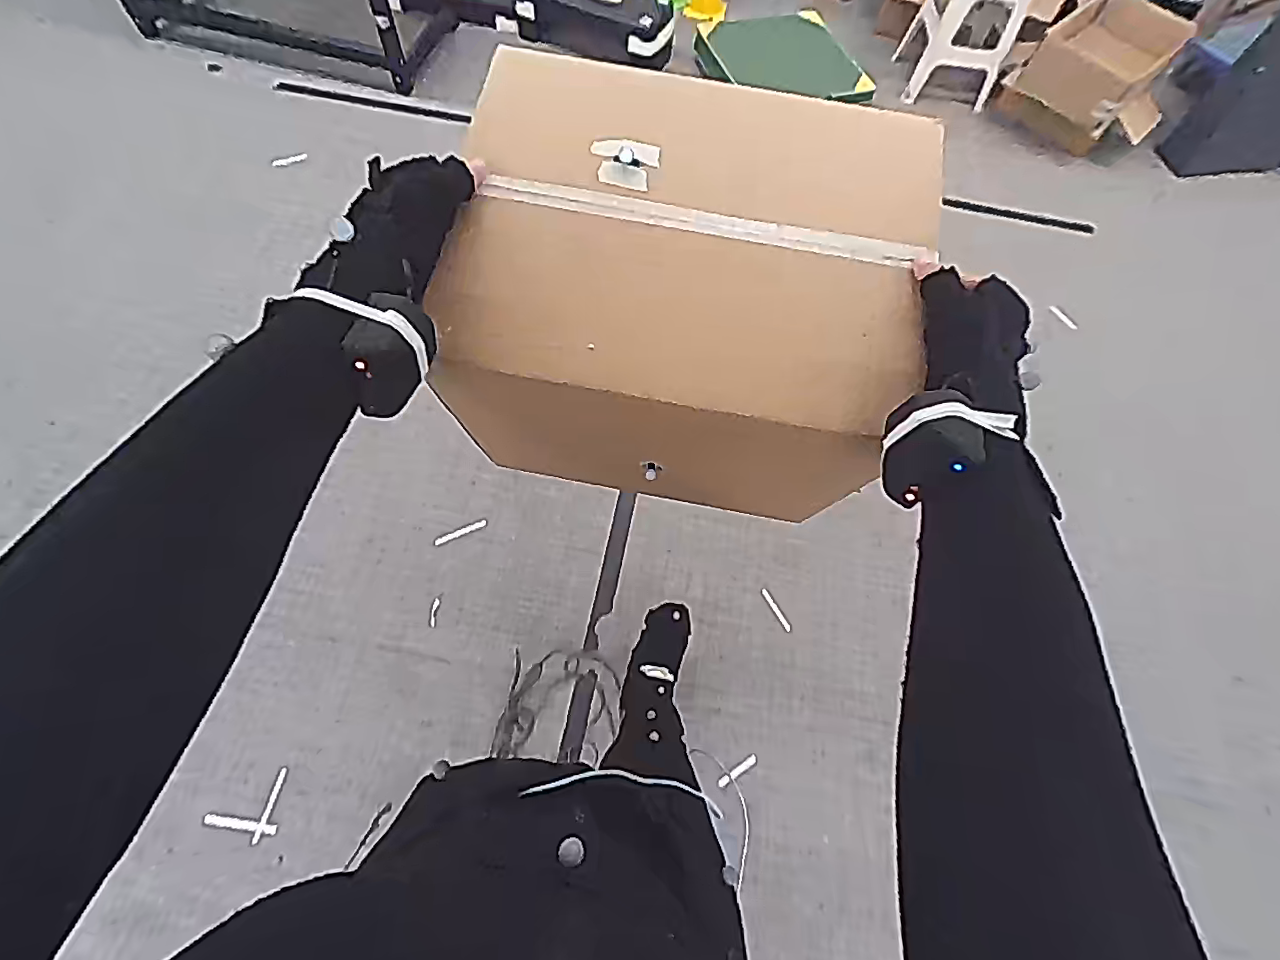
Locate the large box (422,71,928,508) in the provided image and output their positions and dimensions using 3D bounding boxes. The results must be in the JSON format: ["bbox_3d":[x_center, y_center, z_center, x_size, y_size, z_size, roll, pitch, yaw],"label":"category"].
[{"bbox_3d":[0.045,-0.173,0.610,0.408,0.320,0.320,11,75,3],"label":"large box"}]
